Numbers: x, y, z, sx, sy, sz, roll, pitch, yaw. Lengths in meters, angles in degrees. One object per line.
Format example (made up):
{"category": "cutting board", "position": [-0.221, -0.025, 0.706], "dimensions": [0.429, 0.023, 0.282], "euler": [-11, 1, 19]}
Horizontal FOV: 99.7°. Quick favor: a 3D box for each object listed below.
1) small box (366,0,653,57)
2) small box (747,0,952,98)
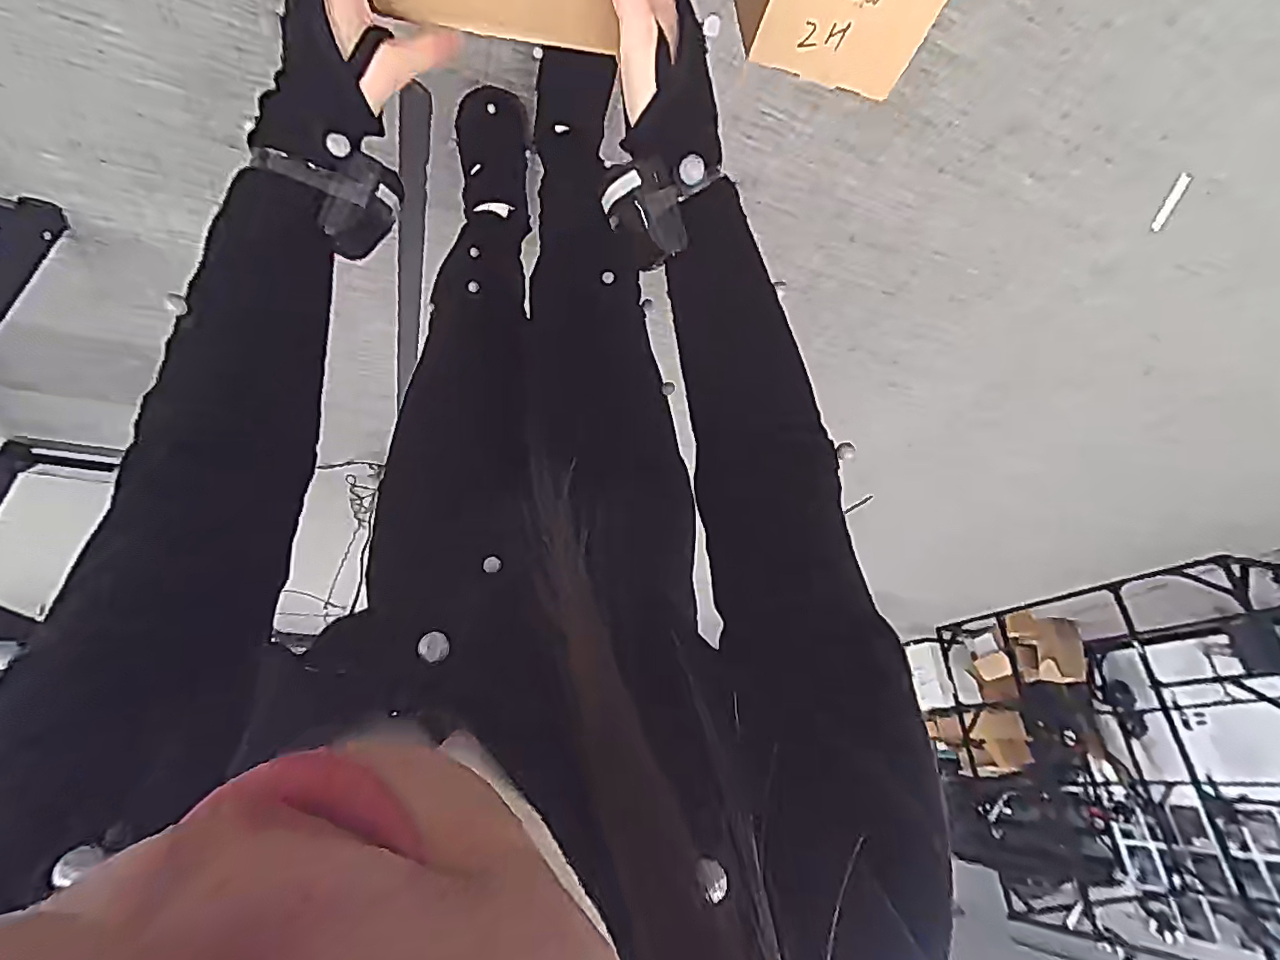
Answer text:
{"category": "small box", "position": [-0.071, -0.392, 0.306], "dimensions": [0.179, 0.176, 0.168], "euler": [3, 157, -9]}
{"category": "small box", "position": [0.209, -0.526, 0.520], "dimensions": [0.168, 0.176, 0.179], "euler": [6, 153, -14]}
